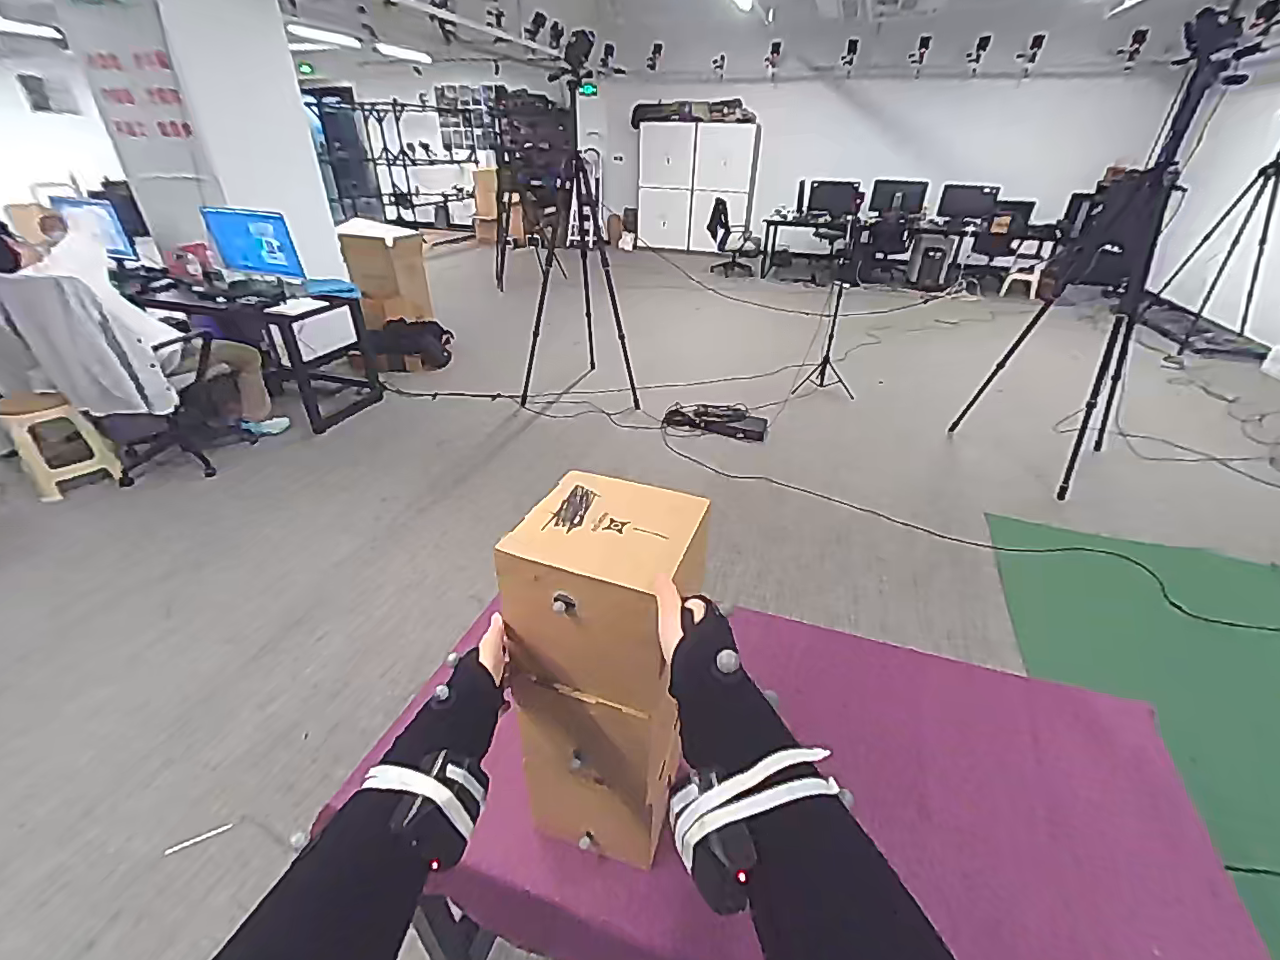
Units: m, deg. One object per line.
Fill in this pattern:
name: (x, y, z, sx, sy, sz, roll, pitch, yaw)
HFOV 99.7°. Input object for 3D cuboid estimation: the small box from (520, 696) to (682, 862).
small box: (-0.049, 0.401, 0.768, 0.179, 0.176, 0.168, 11, 32, 14)

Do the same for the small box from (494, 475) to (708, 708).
small box: (-0.036, 0.118, 0.598, 0.179, 0.176, 0.168, 13, 33, 16)

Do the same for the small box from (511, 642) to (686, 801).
small box: (-0.043, 0.258, 0.685, 0.168, 0.176, 0.179, 11, 33, 16)
